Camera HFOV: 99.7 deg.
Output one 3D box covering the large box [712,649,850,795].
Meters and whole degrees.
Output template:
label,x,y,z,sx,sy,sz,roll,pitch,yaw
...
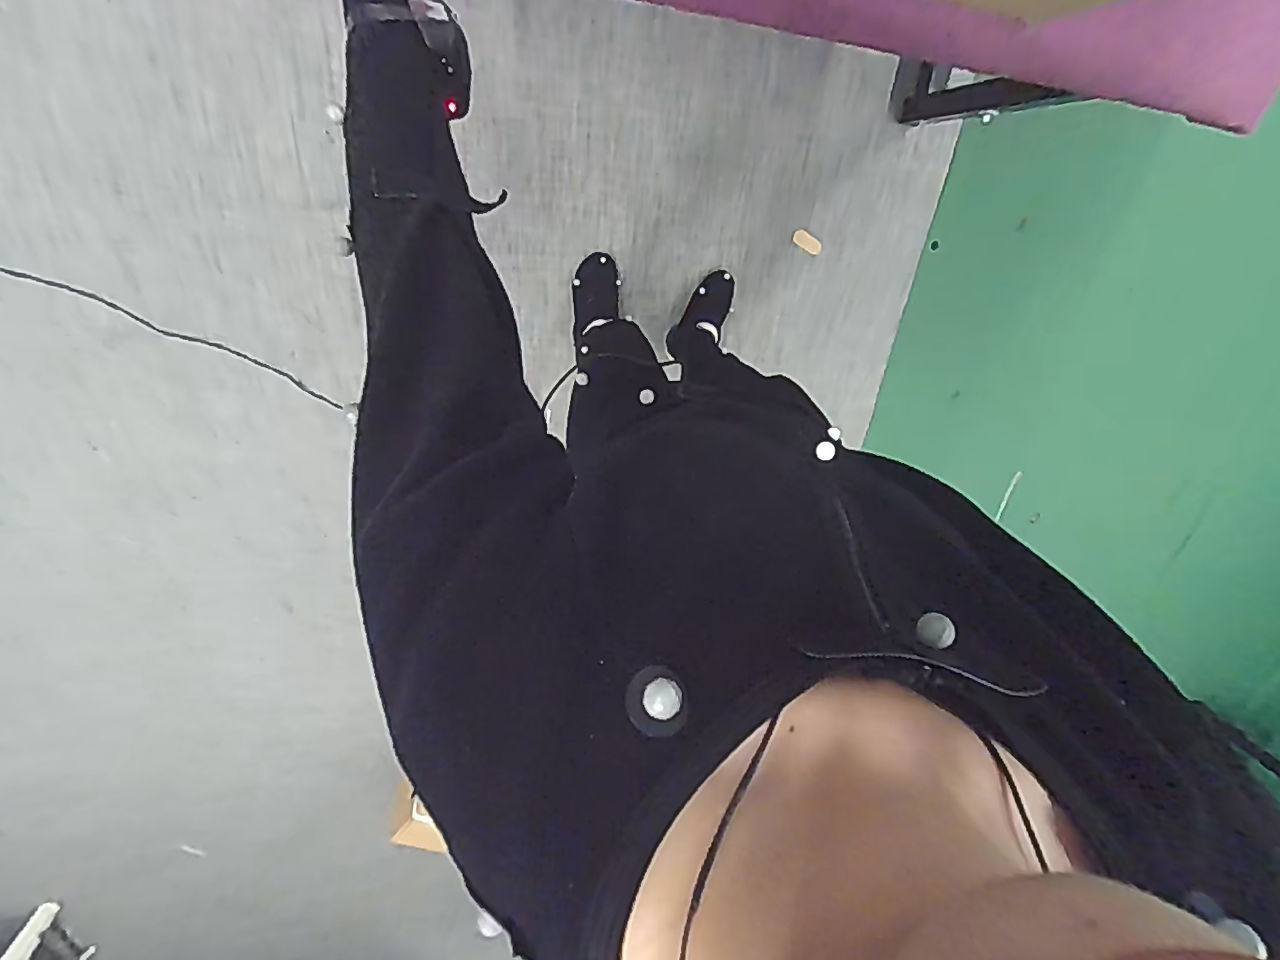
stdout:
label,x,y,z,sx,sy,sz,roll,pitch,yaw
large box,0.517,0.894,2.024,0.408,0.320,0.320,-14,120,-6
